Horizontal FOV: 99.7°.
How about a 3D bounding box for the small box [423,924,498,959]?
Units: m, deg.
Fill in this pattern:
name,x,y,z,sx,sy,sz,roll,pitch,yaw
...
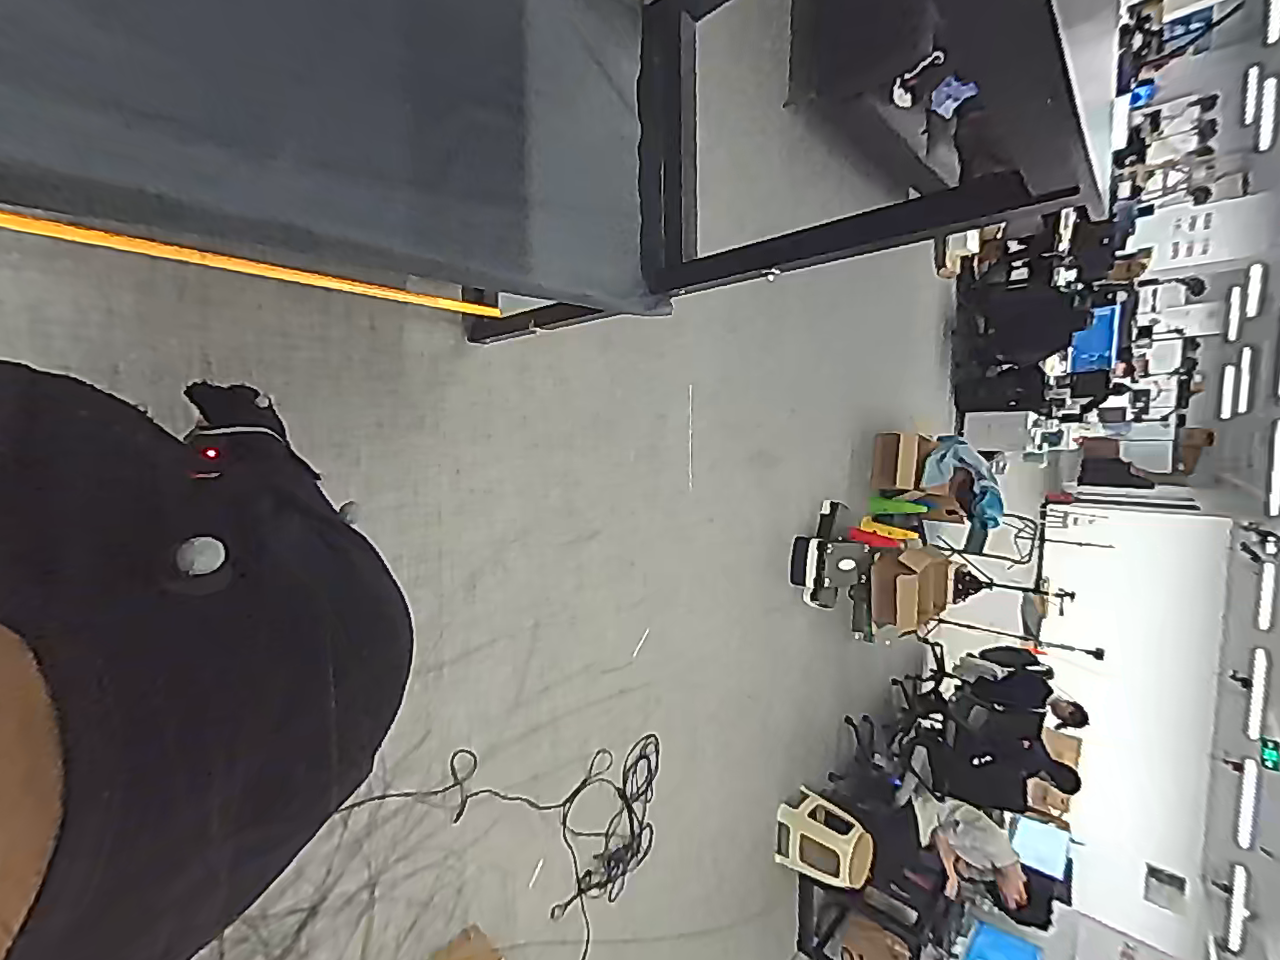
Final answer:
name,x,y,z,sx,sy,sz,roll,pitch,yaw
small box,-0.555,1.532,1.670,0.168,0.176,0.179,-8,100,-47
